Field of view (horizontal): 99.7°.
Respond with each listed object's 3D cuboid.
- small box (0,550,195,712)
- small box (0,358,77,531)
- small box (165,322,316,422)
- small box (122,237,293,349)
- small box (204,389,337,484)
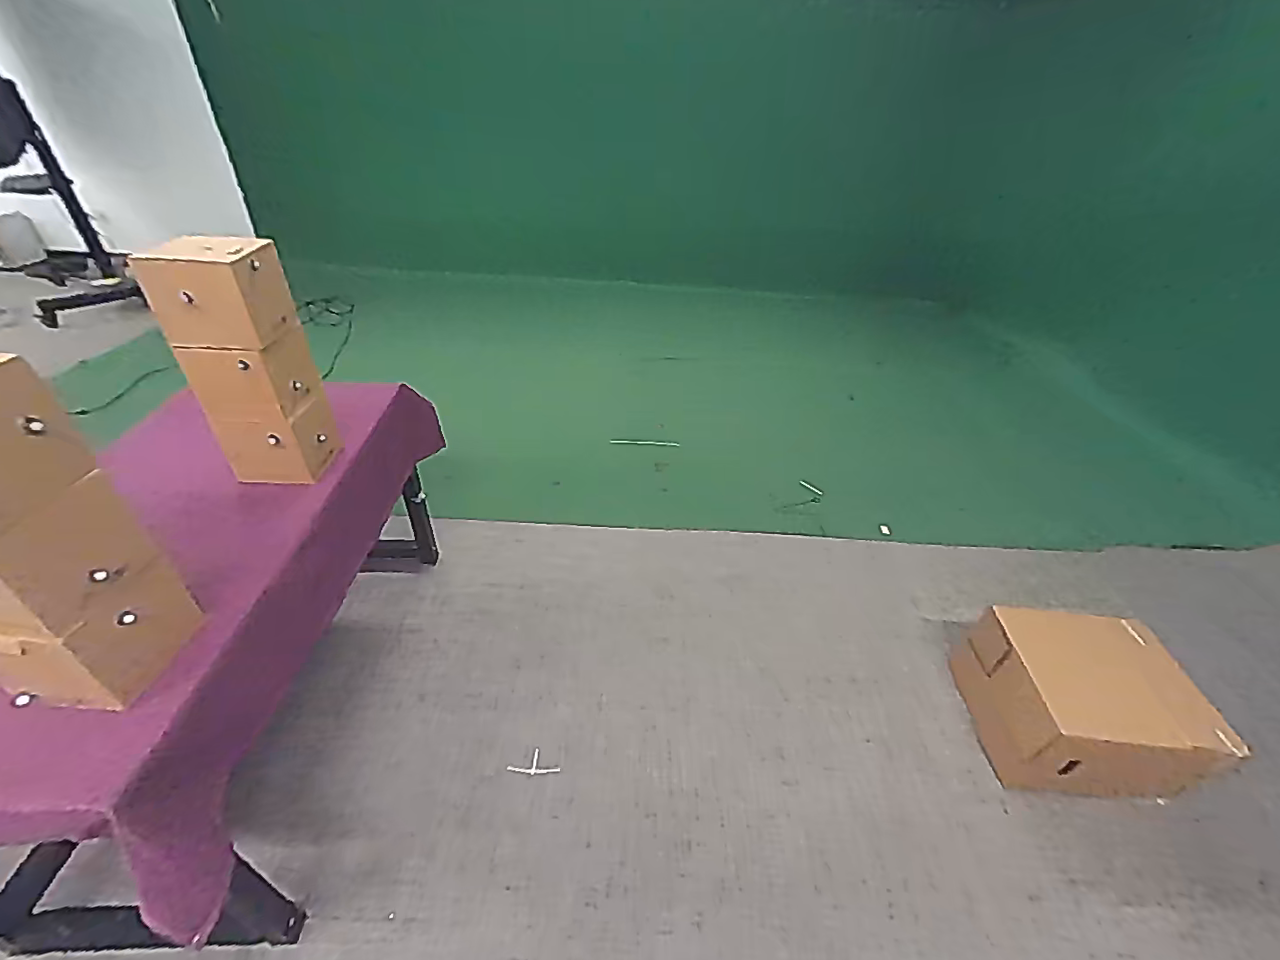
[{"bbox_3d":[-0.839,0.229,0.822,0.168,0.176,0.179,3,36,0],"label":"small box"},{"bbox_3d":[-0.828,-0.033,0.625,0.168,0.176,0.179,3,38,1],"label":"small box"},{"bbox_3d":[-0.843,-0.236,1.162,0.179,0.176,0.168,3,37,-2],"label":"small box"},{"bbox_3d":[-0.832,-0.367,1.063,0.179,0.176,0.168,0,38,-5],"label":"small box"},{"bbox_3d":[-0.842,-0.103,1.257,0.179,0.176,0.168,2,37,-2],"label":"small box"}]
